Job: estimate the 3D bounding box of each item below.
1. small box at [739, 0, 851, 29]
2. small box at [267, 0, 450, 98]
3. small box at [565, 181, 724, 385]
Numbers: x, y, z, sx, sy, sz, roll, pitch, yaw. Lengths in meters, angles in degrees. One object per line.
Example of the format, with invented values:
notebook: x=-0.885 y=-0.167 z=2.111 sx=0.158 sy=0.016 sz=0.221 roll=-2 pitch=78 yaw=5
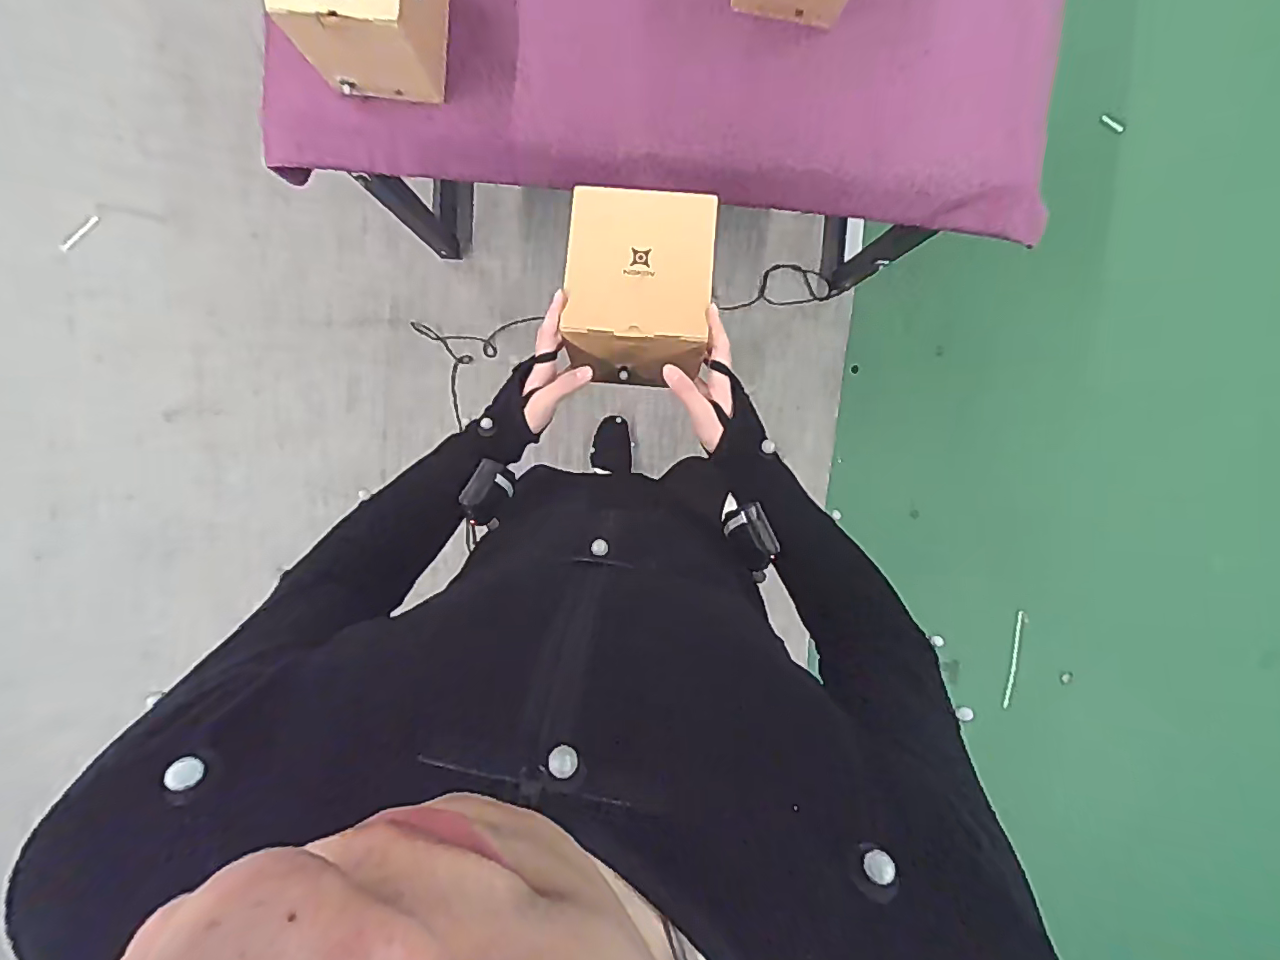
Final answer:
small box: x=0.238 y=-0.780 z=0.739 sx=0.168 sy=0.176 sz=0.179 roll=9 pitch=95 yaw=-2
small box: x=-0.367 y=-0.659 z=0.731 sx=0.168 sy=0.176 sz=0.179 roll=5 pitch=94 yaw=-3
small box: x=0.005 y=-0.234 z=0.676 sx=0.168 sy=0.176 sz=0.179 roll=4 pitch=83 yaw=0
